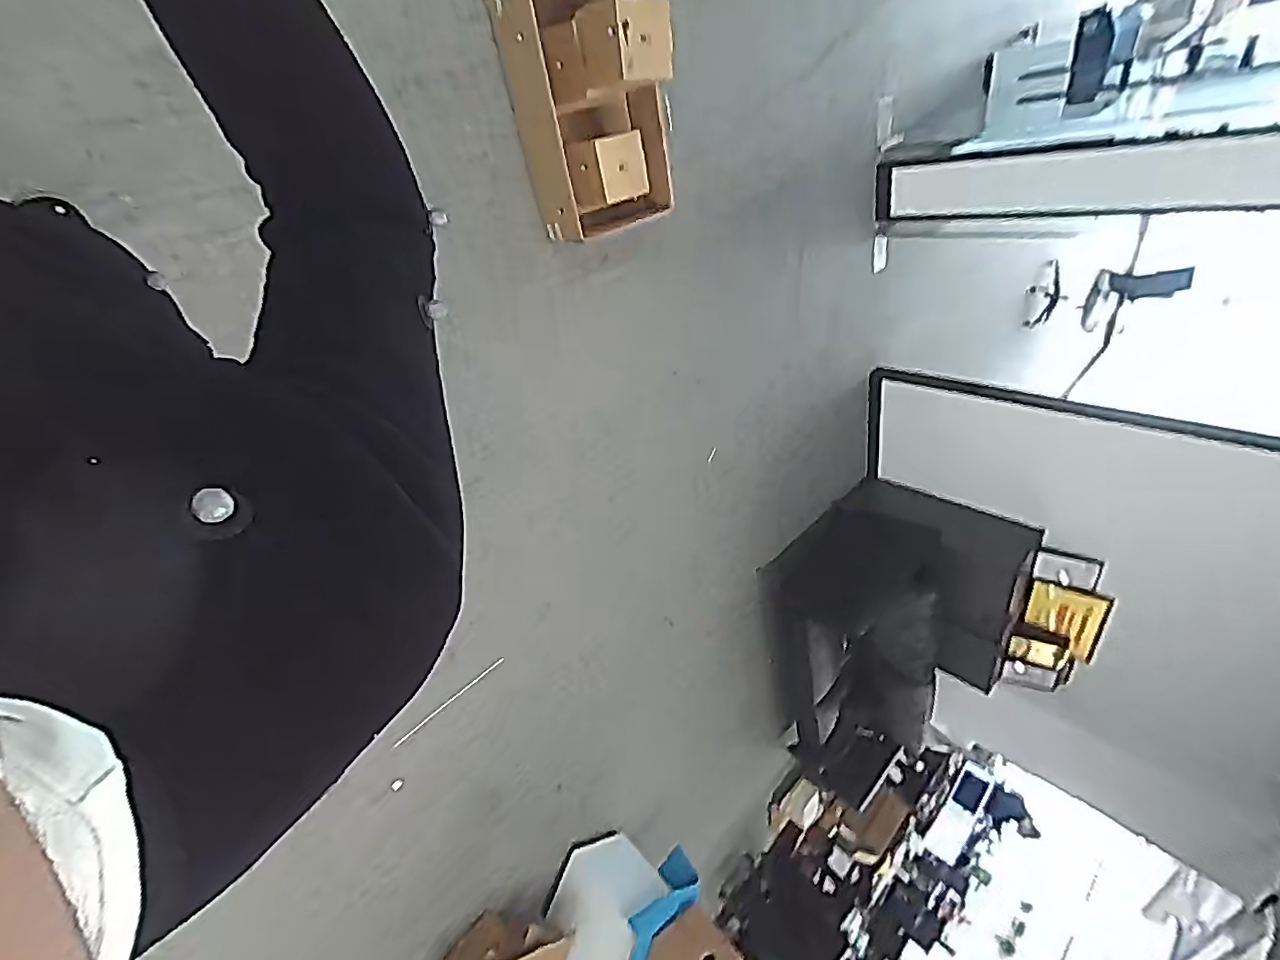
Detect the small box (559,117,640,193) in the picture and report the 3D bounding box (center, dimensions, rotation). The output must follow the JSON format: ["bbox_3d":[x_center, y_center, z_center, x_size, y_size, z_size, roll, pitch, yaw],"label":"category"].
[{"bbox_3d":[-0.129,-0.987,1.650,0.179,0.176,0.168,-35,130,-28],"label":"small box"}]

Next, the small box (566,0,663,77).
[{"bbox_3d":[-0.063,-1.151,1.389,0.179,0.176,0.168,-30,129,-33],"label":"small box"}]

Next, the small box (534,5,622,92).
[{"bbox_3d":[-0.173,-1.199,1.501,0.179,0.176,0.168,-35,132,-28],"label":"small box"}]
